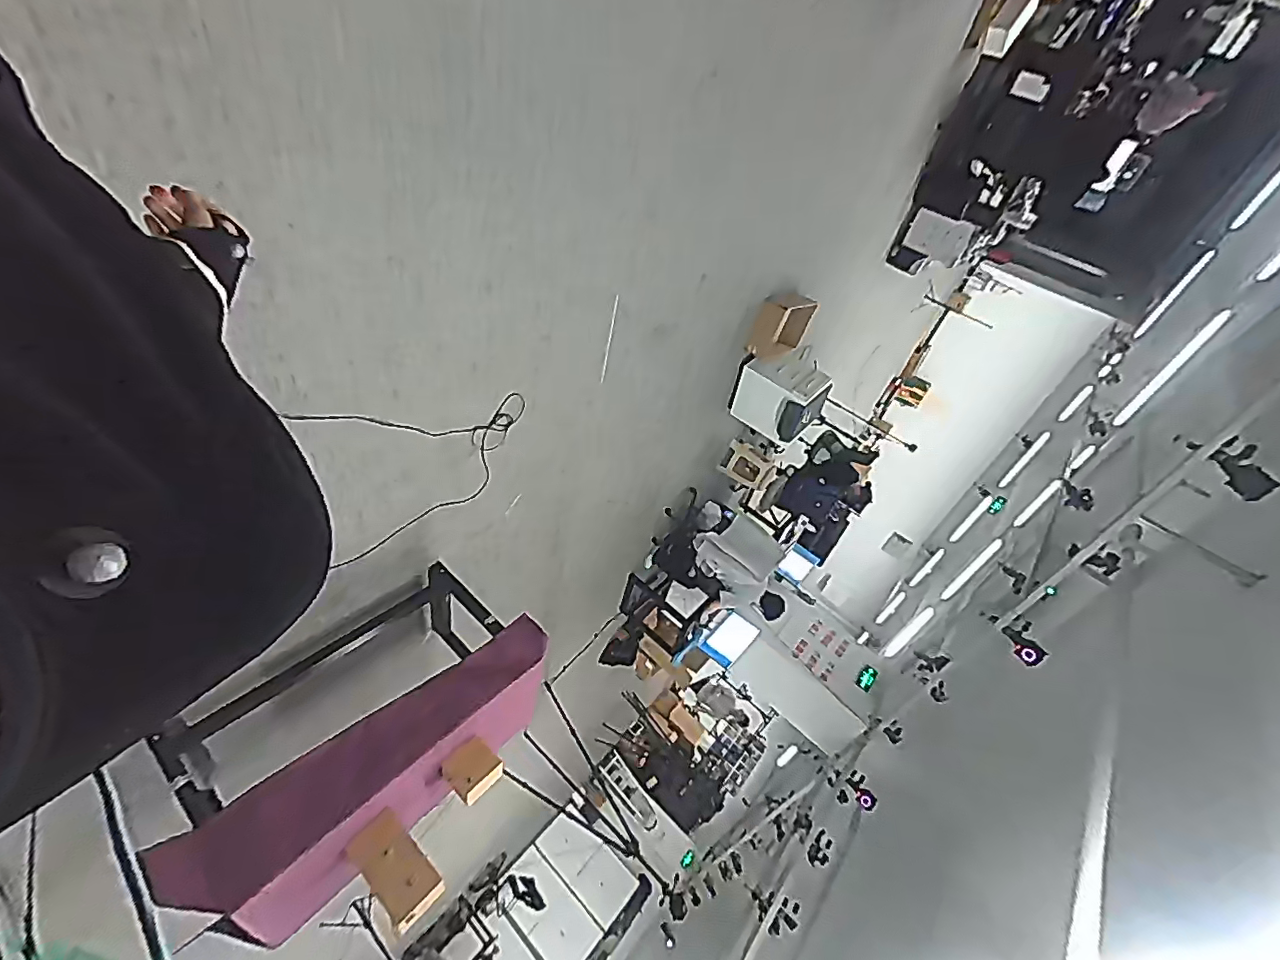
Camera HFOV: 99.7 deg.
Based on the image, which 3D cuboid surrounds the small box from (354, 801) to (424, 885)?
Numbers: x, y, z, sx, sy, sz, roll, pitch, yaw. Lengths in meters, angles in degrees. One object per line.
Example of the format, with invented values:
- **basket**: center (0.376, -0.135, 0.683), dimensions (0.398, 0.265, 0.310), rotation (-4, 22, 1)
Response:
- **small box**: center (-0.917, 1.329, 1.989), dimensions (0.179, 0.176, 0.168), rotation (-31, 149, -40)

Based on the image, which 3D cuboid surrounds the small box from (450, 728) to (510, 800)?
- **small box**: center (-0.666, 1.174, 2.246), dimensions (0.179, 0.176, 0.168), rotation (-32, 150, -38)

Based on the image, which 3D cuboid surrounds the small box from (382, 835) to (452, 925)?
- **small box**: center (-0.797, 1.422, 1.927), dimensions (0.179, 0.176, 0.168), rotation (-33, 150, -40)
